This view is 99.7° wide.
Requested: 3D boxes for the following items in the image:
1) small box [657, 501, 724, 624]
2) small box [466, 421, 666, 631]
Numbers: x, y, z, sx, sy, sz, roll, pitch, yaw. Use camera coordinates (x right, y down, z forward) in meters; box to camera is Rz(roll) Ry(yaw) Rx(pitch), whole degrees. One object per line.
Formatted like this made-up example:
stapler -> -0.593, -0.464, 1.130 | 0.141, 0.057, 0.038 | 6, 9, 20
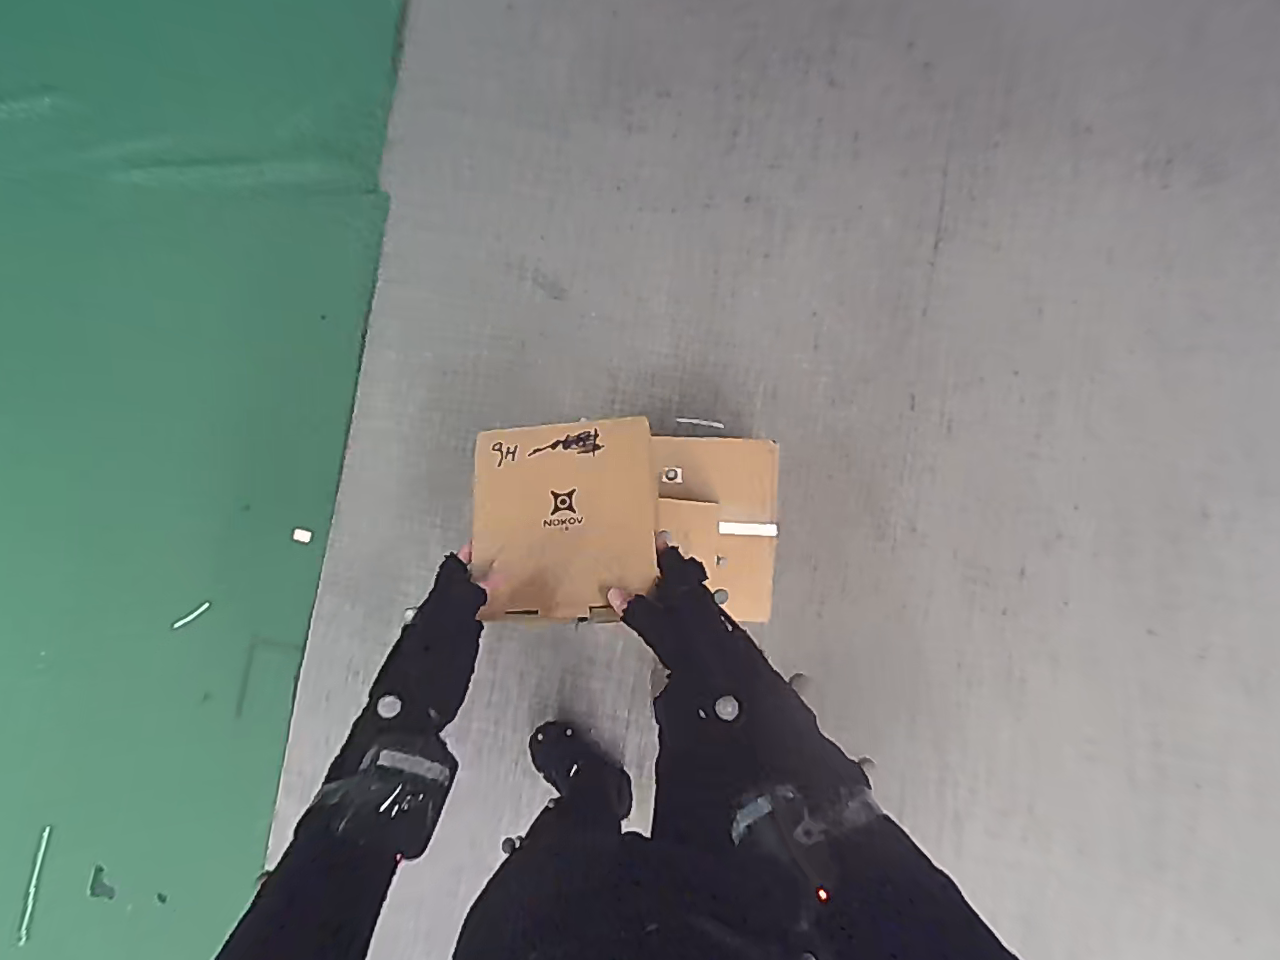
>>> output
small box -> 0.036, 0.117, 0.848 | 0.179, 0.176, 0.168 | 5, 88, 8
small box -> -0.065, 0.059, 0.553 | 0.168, 0.176, 0.179 | -6, 72, 4
